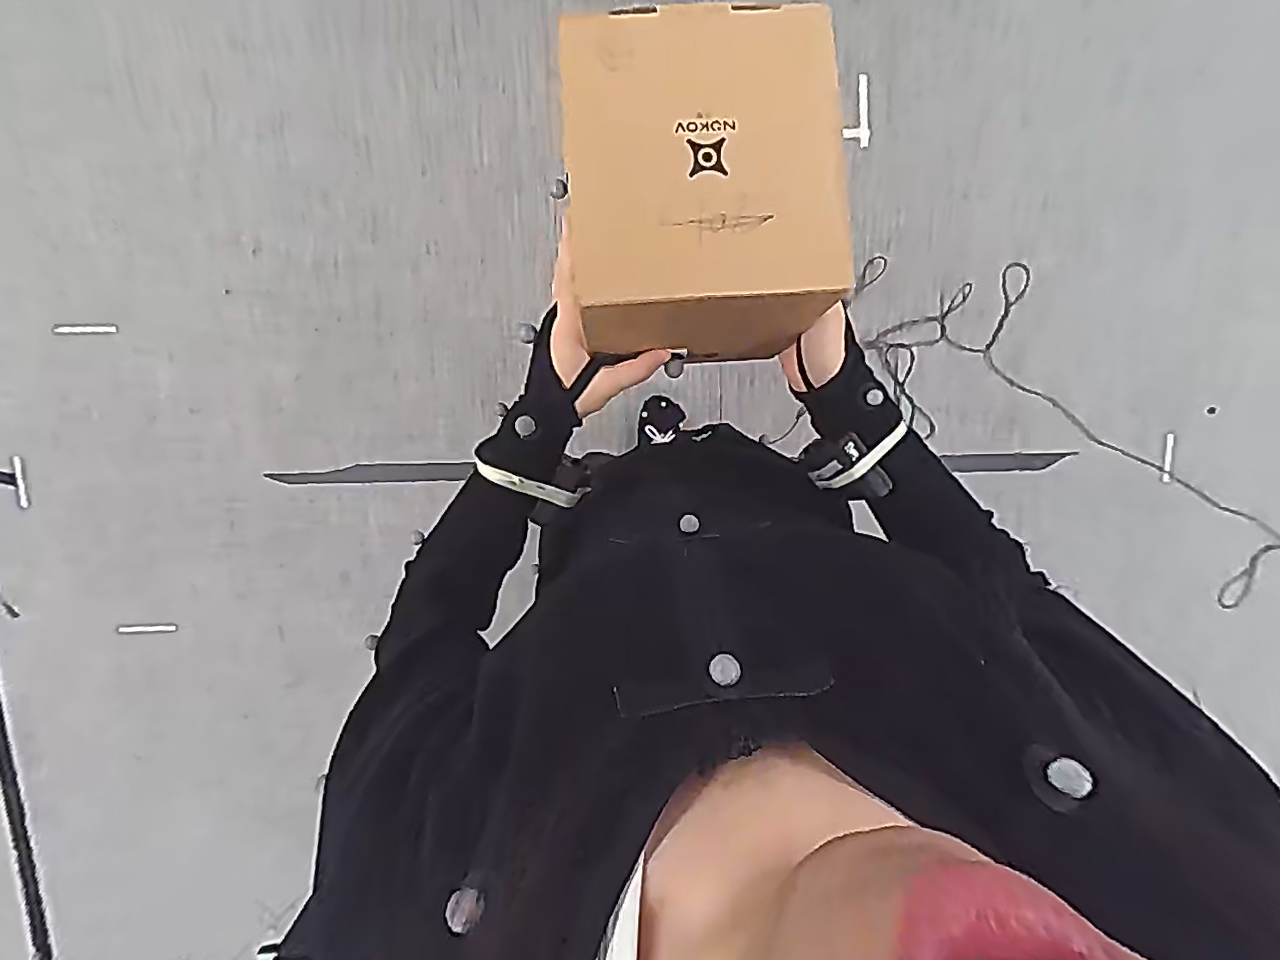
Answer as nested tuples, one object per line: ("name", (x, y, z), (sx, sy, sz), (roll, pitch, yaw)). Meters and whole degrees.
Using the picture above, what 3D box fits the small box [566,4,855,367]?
("small box", (0.036, -0.191, 0.396), (0.168, 0.176, 0.179), (-4, 89, -3))
